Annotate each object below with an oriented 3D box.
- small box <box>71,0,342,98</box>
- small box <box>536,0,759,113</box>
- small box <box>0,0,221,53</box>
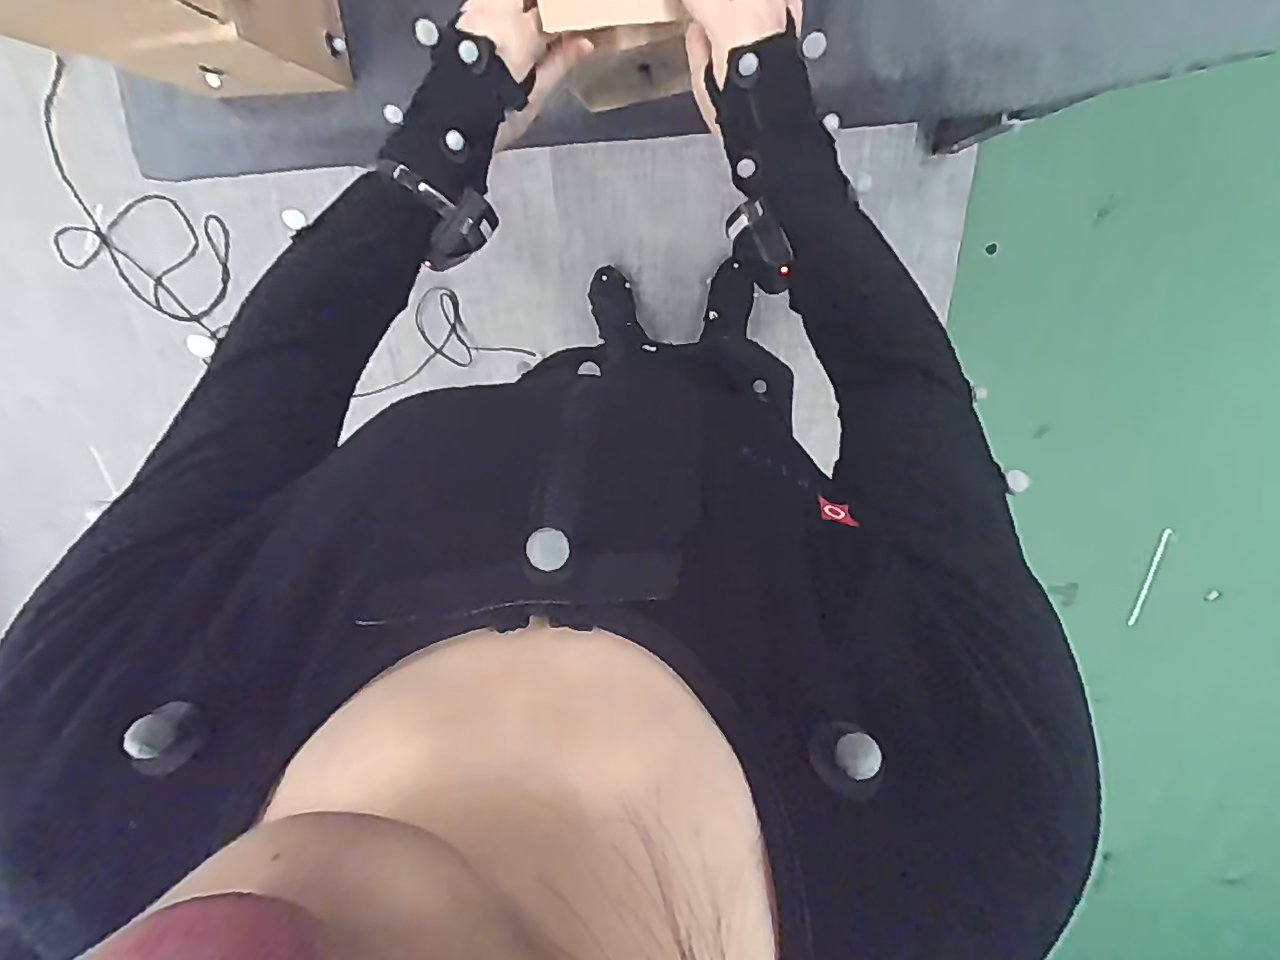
[{"bbox_3d":[-0.416,-0.483,0.514,0.179,0.176,0.168,2,113,7],"label":"small box"},{"bbox_3d":[0.009,-0.449,0.476,0.179,0.176,0.168,-5,113,12],"label":"small box"},{"bbox_3d":[-0.449,-0.423,0.367,0.179,0.176,0.168,-3,112,8],"label":"small box"}]
